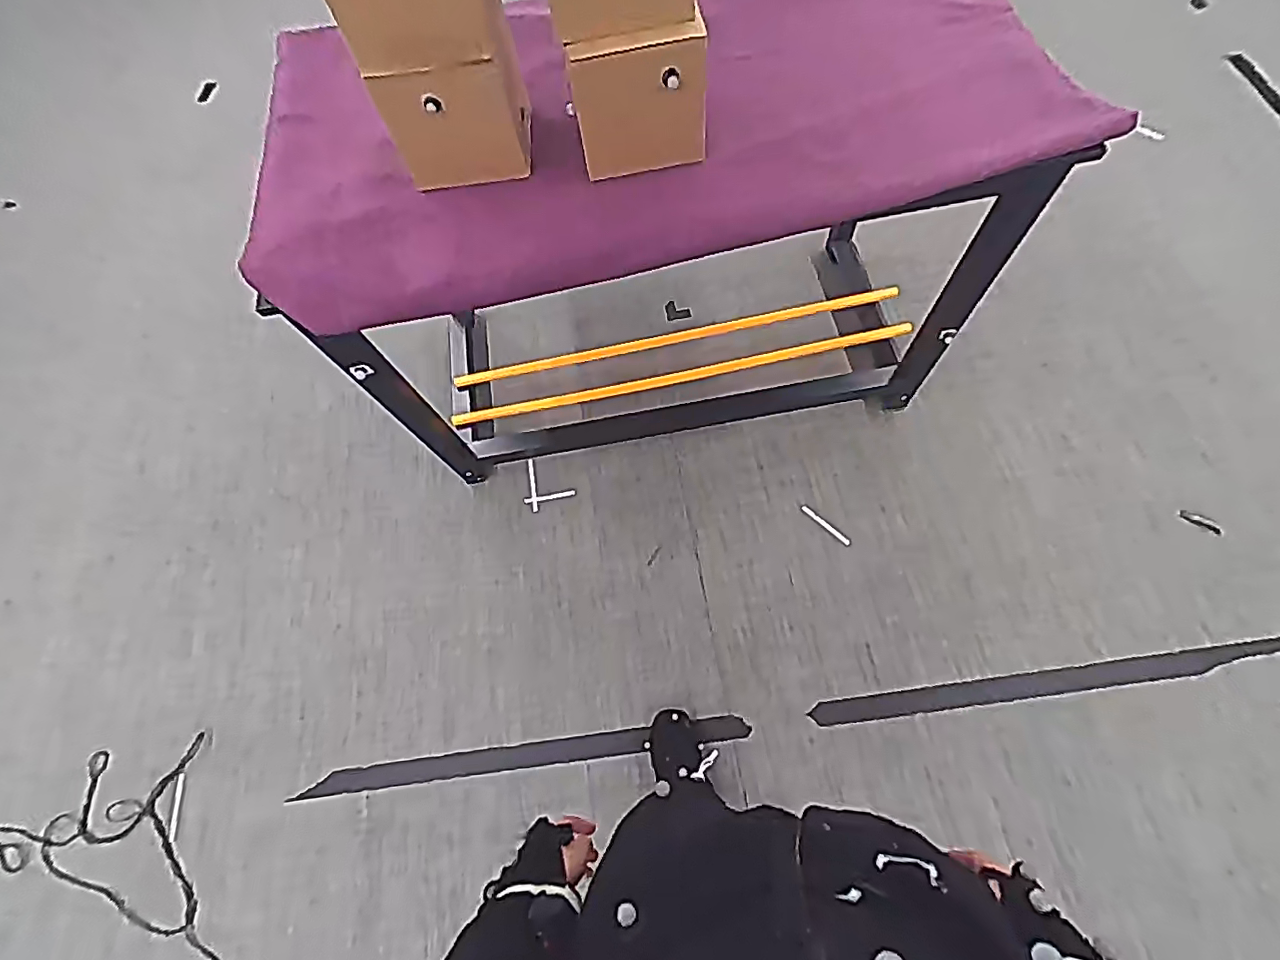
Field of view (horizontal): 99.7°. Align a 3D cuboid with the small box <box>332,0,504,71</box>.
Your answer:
[{"bbox_3d":[-0.268,-0.626,0.638,0.179,0.176,0.168,-2,68,5],"label":"small box"}]

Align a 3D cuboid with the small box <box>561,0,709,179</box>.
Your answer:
[{"bbox_3d":[-0.005,-0.565,0.765,0.179,0.176,0.168,-9,67,2],"label":"small box"}]
